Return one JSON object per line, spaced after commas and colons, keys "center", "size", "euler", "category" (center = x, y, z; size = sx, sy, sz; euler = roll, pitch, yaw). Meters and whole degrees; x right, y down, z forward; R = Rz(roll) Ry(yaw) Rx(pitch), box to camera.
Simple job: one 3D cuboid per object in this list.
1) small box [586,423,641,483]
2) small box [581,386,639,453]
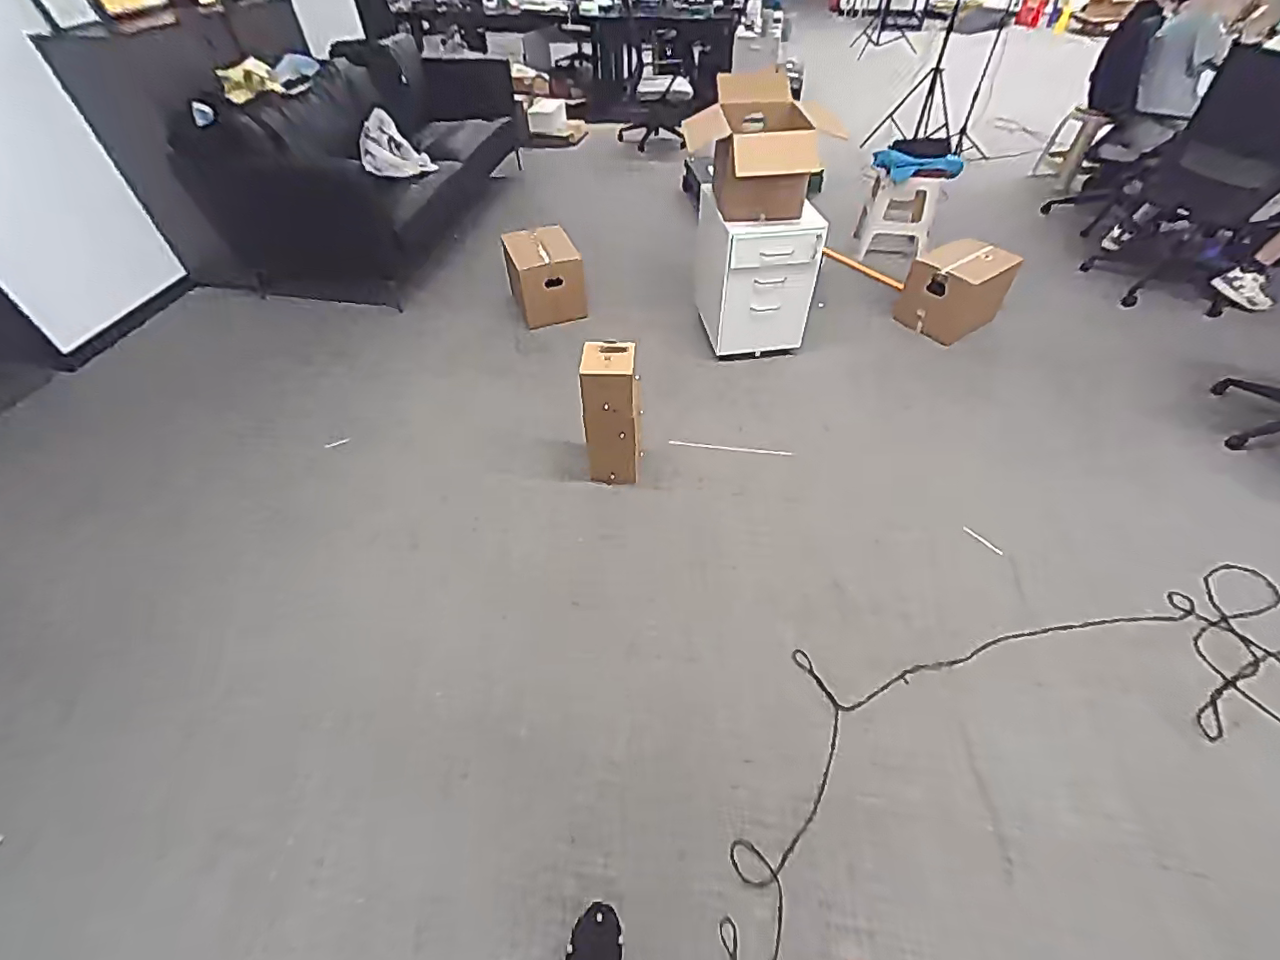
{"center": [-0.093, -0.106, 2.004], "size": [0.179, 0.176, 0.168], "euler": [5, 48, 6], "category": "small box"}
{"center": [-0.097, -0.208, 1.876], "size": [0.179, 0.176, 0.168], "euler": [2, 46, 5], "category": "small box"}
